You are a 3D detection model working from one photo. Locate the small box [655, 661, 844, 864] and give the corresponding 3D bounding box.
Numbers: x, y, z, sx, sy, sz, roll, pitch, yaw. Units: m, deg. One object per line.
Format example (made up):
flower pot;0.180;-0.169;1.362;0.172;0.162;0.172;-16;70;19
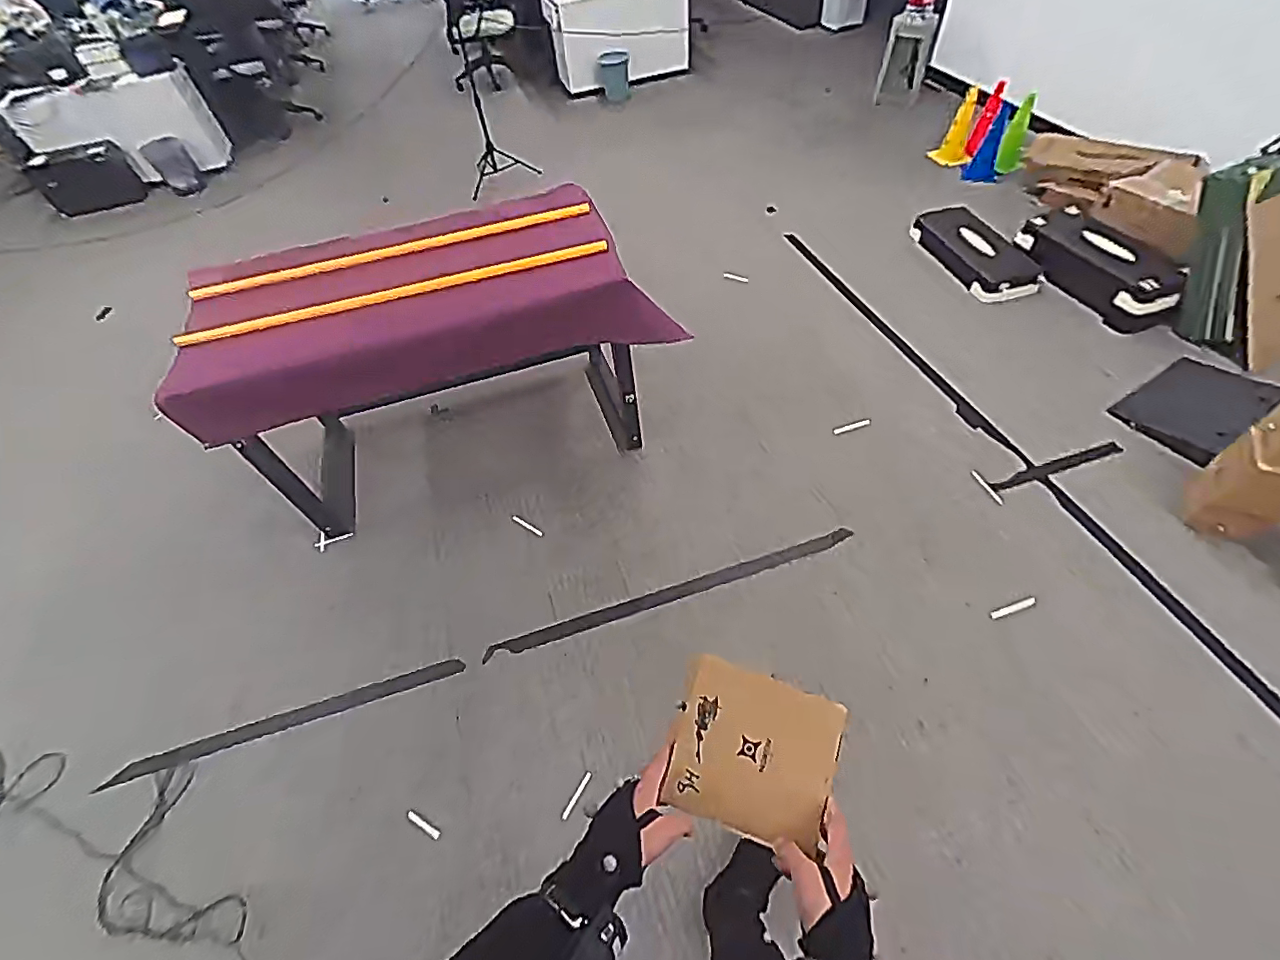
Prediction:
small box;0.128;0.339;0.688;0.179;0.176;0.168;20;72;6
